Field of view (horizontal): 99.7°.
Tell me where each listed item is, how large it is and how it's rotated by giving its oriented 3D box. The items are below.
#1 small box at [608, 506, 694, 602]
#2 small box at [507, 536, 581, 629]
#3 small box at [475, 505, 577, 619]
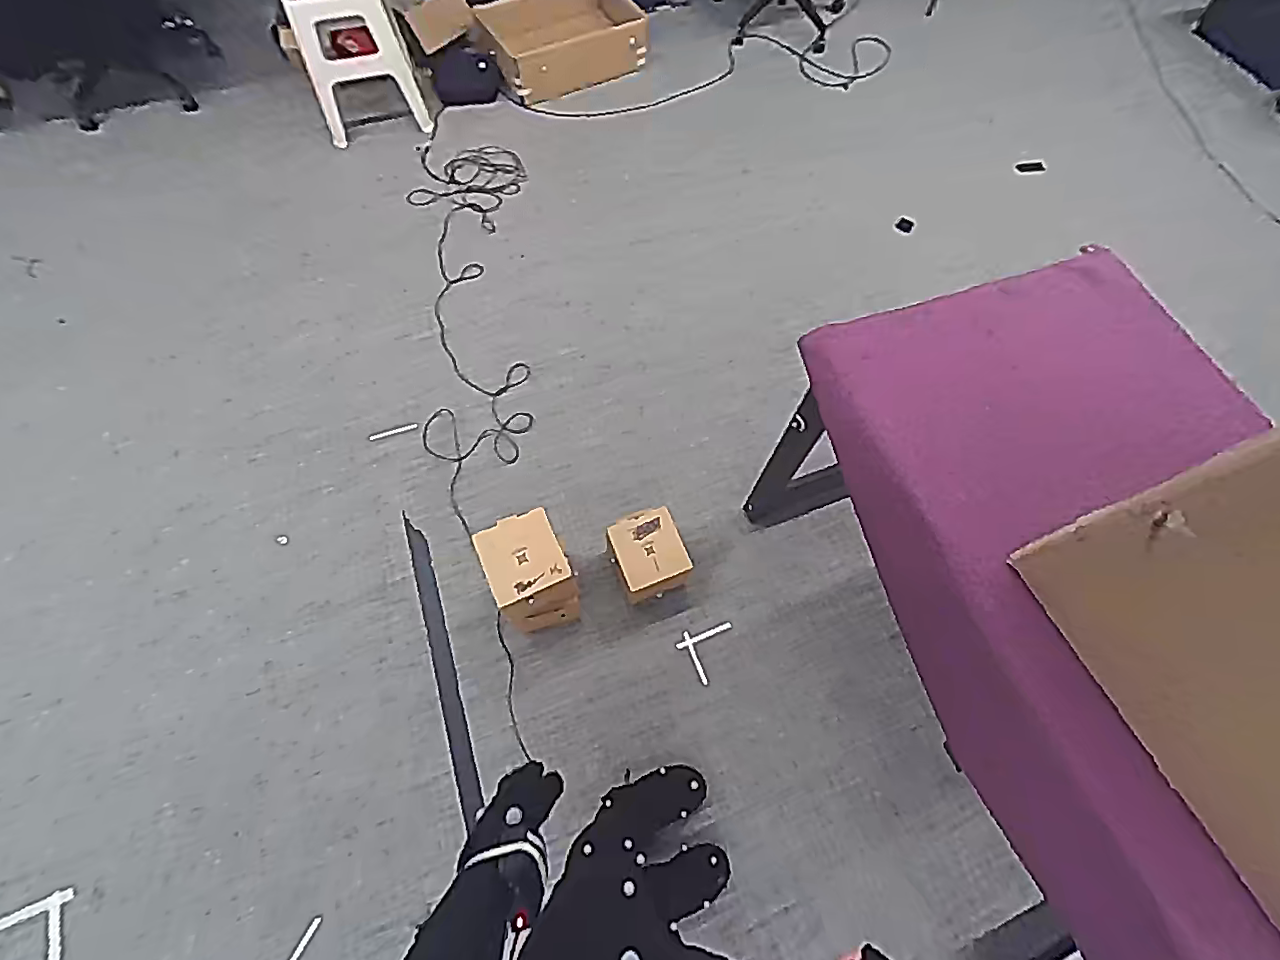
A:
[{"bbox_3d":[0.021,0.195,1.394,0.168,0.176,0.179,-20,69,-10],"label":"small box"},{"bbox_3d":[-0.247,0.264,1.356,0.168,0.176,0.179,-13,65,-9],"label":"small box"},{"bbox_3d":[-0.251,0.188,1.211,0.168,0.176,0.179,-23,68,-13],"label":"small box"}]
